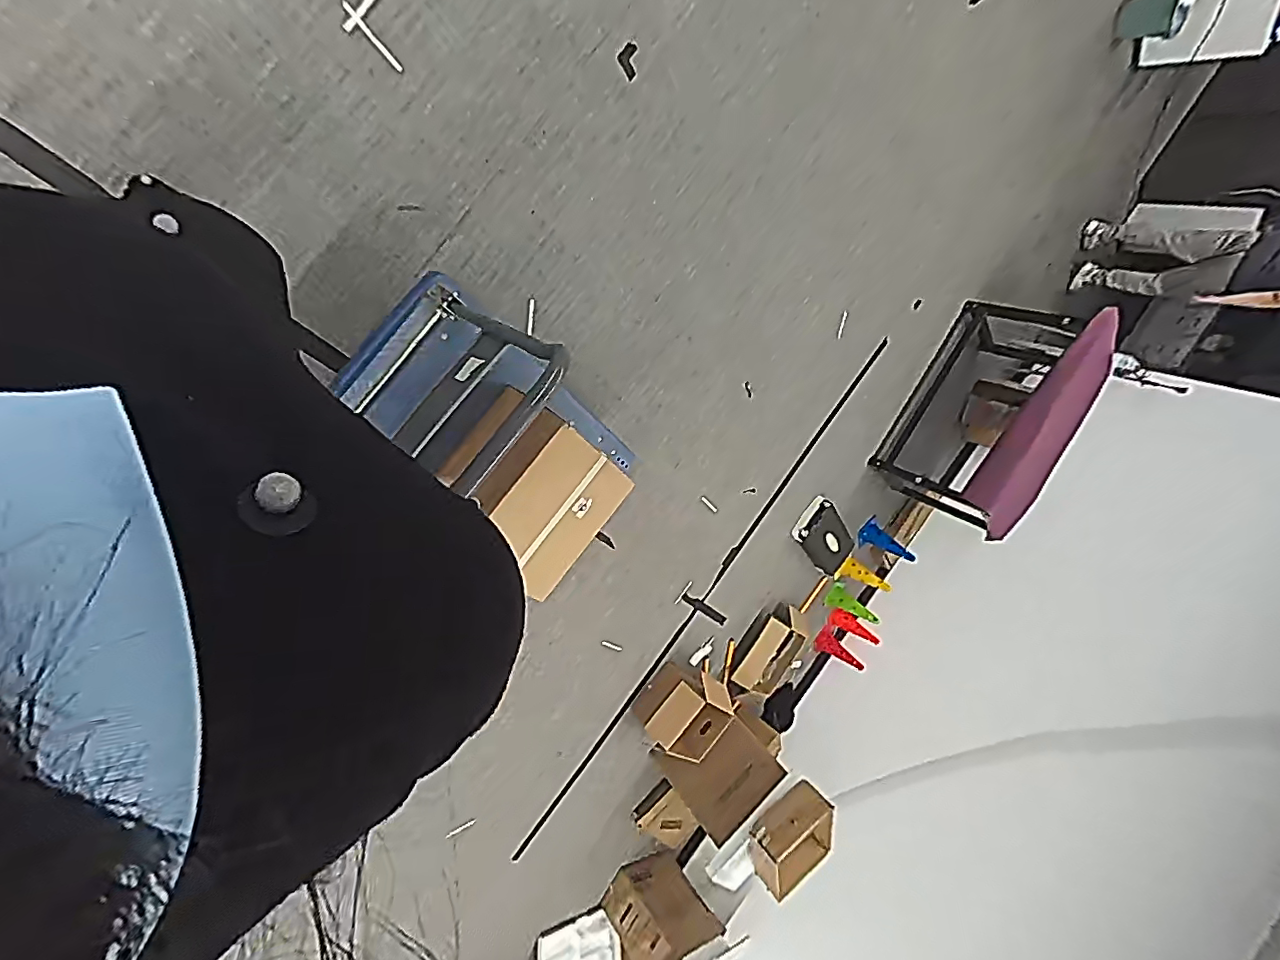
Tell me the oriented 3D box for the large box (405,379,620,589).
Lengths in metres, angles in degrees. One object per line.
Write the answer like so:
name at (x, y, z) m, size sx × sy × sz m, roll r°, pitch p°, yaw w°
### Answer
large box at (-0.338, 0.007, 1.439) m, size 0.408 × 0.320 × 0.320 m, roll -53°, pitch 137°, yaw -6°
